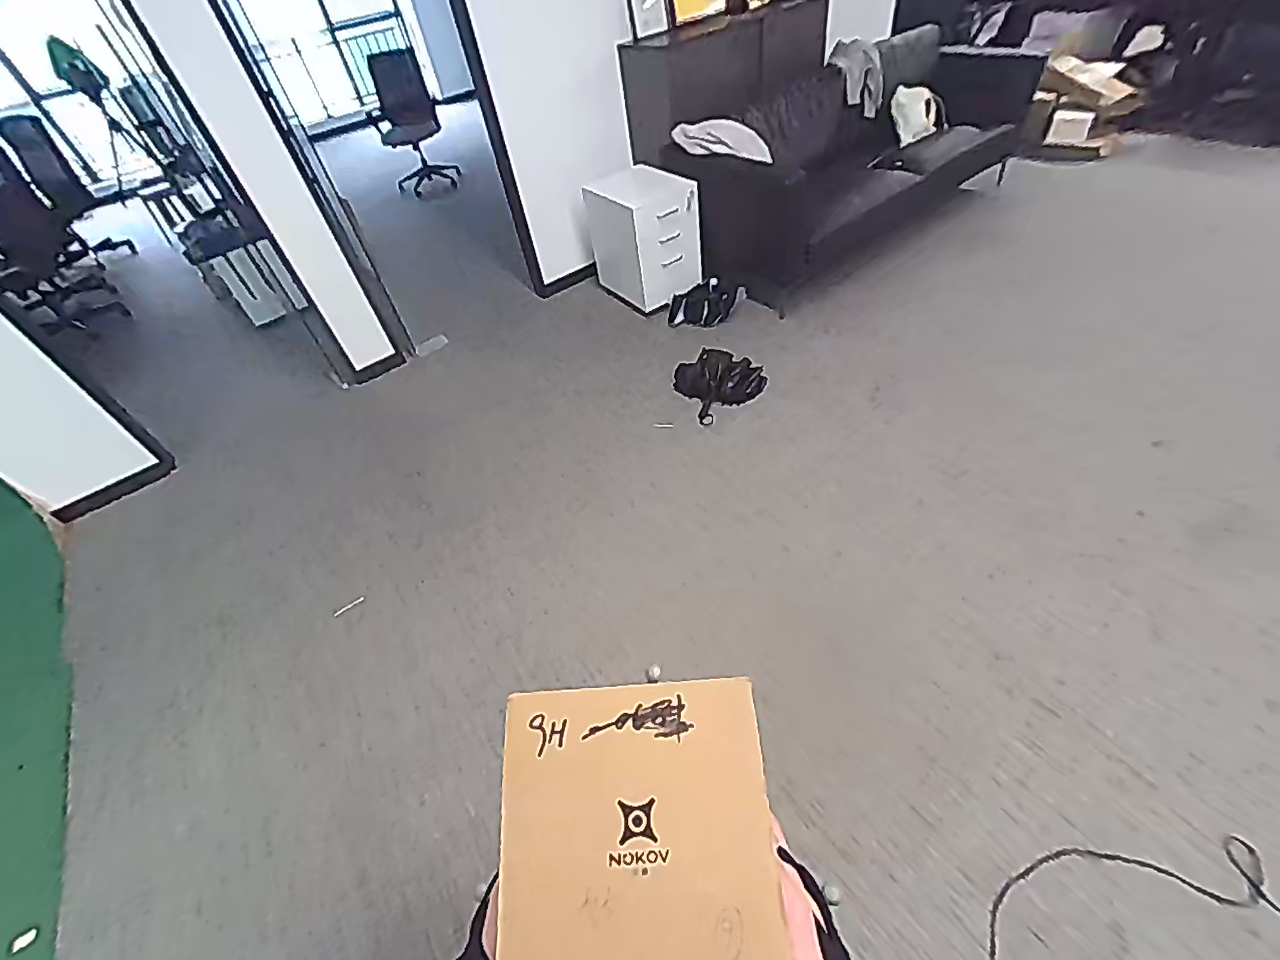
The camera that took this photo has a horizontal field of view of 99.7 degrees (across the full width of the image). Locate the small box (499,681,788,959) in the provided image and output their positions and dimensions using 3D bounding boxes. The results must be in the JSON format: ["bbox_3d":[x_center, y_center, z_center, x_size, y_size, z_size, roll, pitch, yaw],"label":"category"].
[{"bbox_3d":[0.002,0.251,0.399,0.168,0.176,0.179,-4,64,0],"label":"small box"}]
